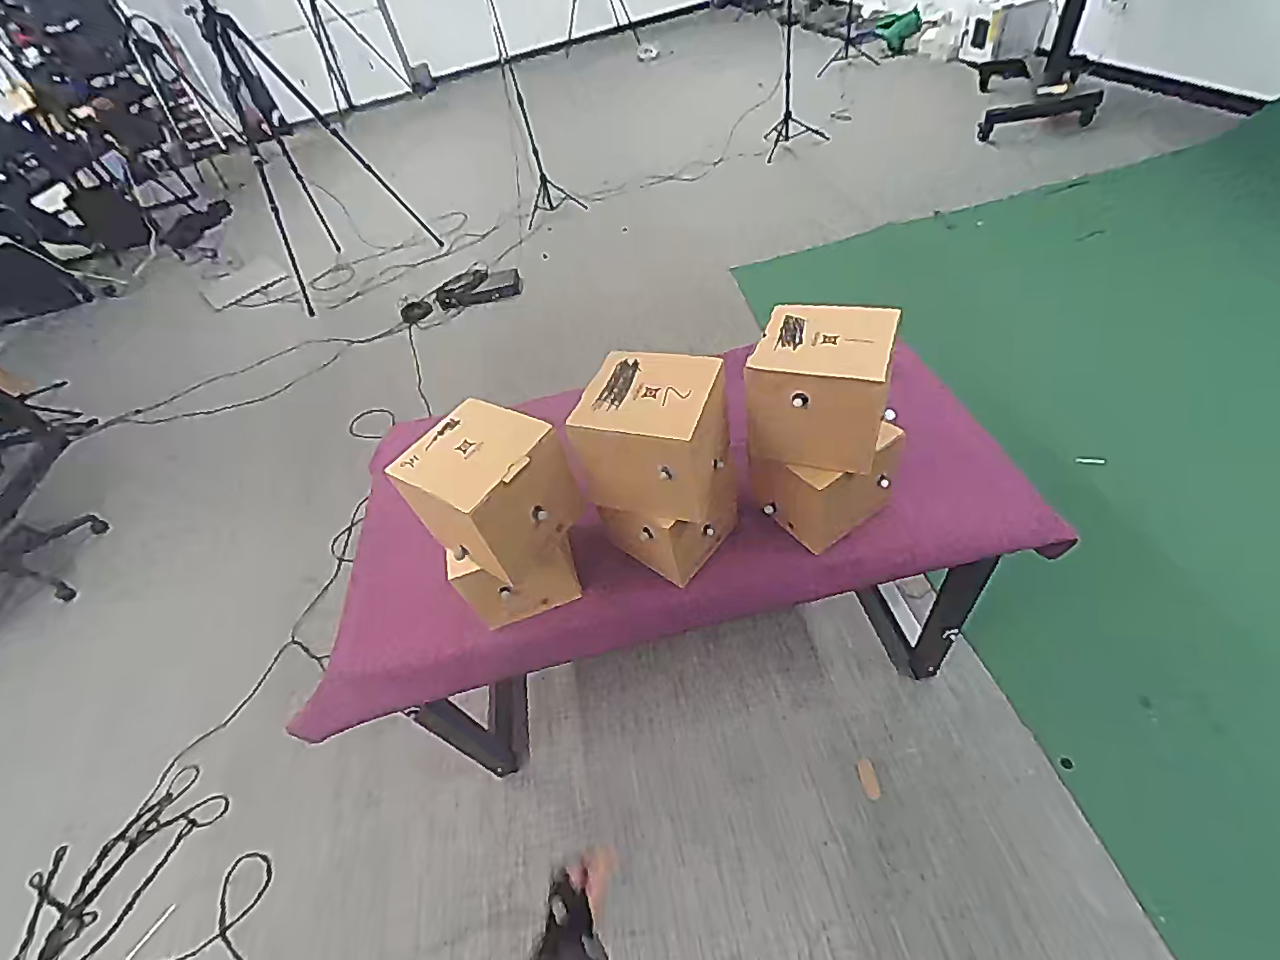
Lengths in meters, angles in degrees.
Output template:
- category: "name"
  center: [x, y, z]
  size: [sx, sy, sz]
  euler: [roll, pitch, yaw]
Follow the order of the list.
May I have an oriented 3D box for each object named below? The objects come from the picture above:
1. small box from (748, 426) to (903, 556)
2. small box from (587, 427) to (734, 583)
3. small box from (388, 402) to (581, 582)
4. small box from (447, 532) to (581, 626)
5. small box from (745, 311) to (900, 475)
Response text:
- category: "small box"
  center: [0.300, -0.009, 0.900]
  size: [0.179, 0.176, 0.168]
  euler: [-32, 47, -14]
- category: "small box"
  center: [0.044, 0.047, 0.908]
  size: [0.179, 0.176, 0.168]
  euler: [29, 59, 34]
- category: "small box"
  center: [-0.208, 0.020, 0.772]
  size: [0.179, 0.176, 0.168]
  euler: [21, 55, 29]
- category: "small box"
  center: [-0.210, 0.122, 0.906]
  size: [0.168, 0.176, 0.179]
  euler: [-20, 46, -4]
- category: "small box"
  center: [0.264, -0.128, 0.791]
  size: [0.179, 0.176, 0.168]
  euler: [12, 51, 24]
